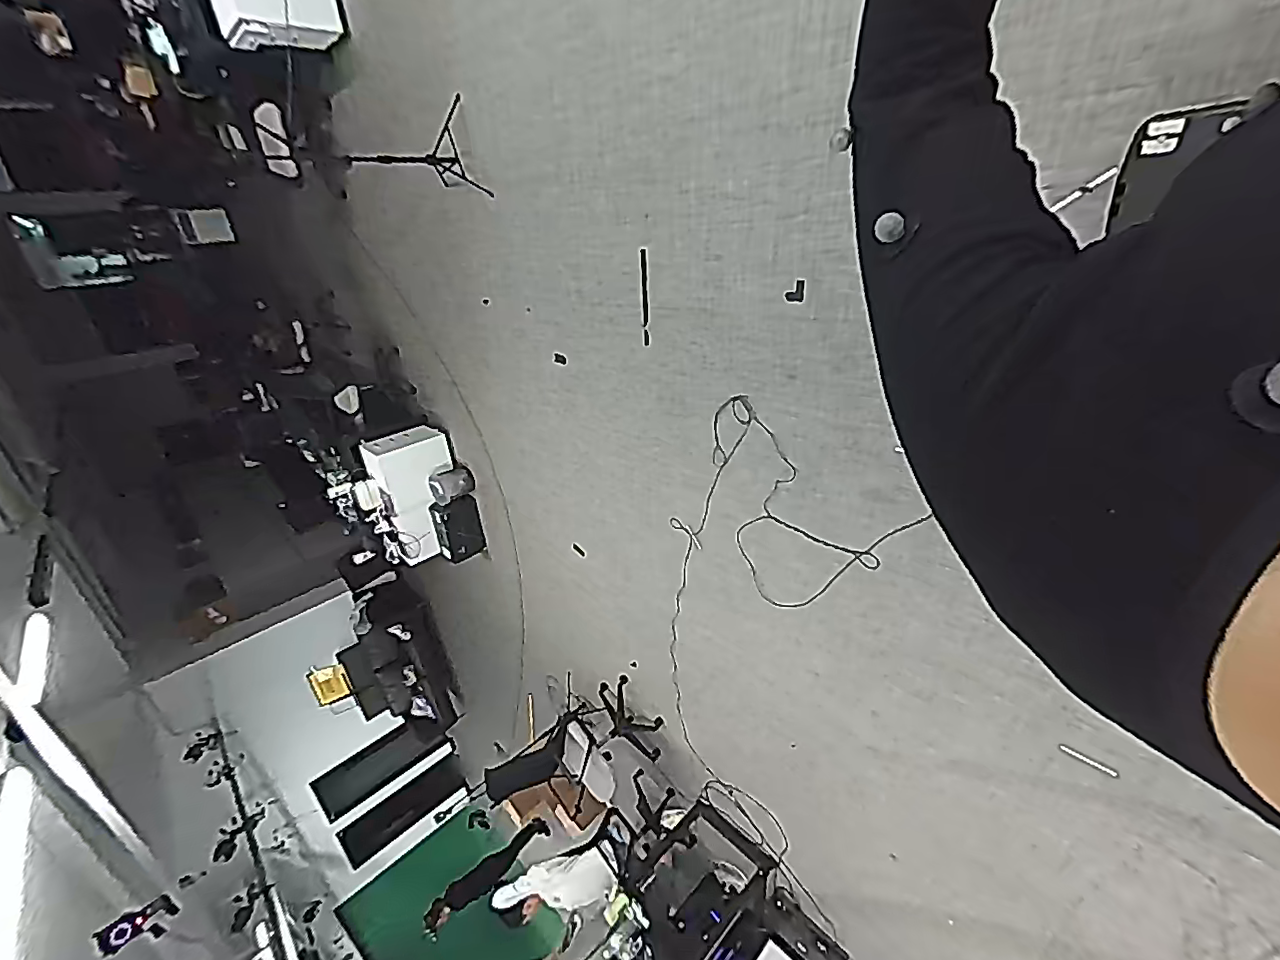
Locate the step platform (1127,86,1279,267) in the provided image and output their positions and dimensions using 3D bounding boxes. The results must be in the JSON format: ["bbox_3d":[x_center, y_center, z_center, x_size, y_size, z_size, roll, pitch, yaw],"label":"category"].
[{"bbox_3d":[1.245,-0.506,0.868,0.684,0.204,0.286,19,125,42],"label":"step platform"}]
